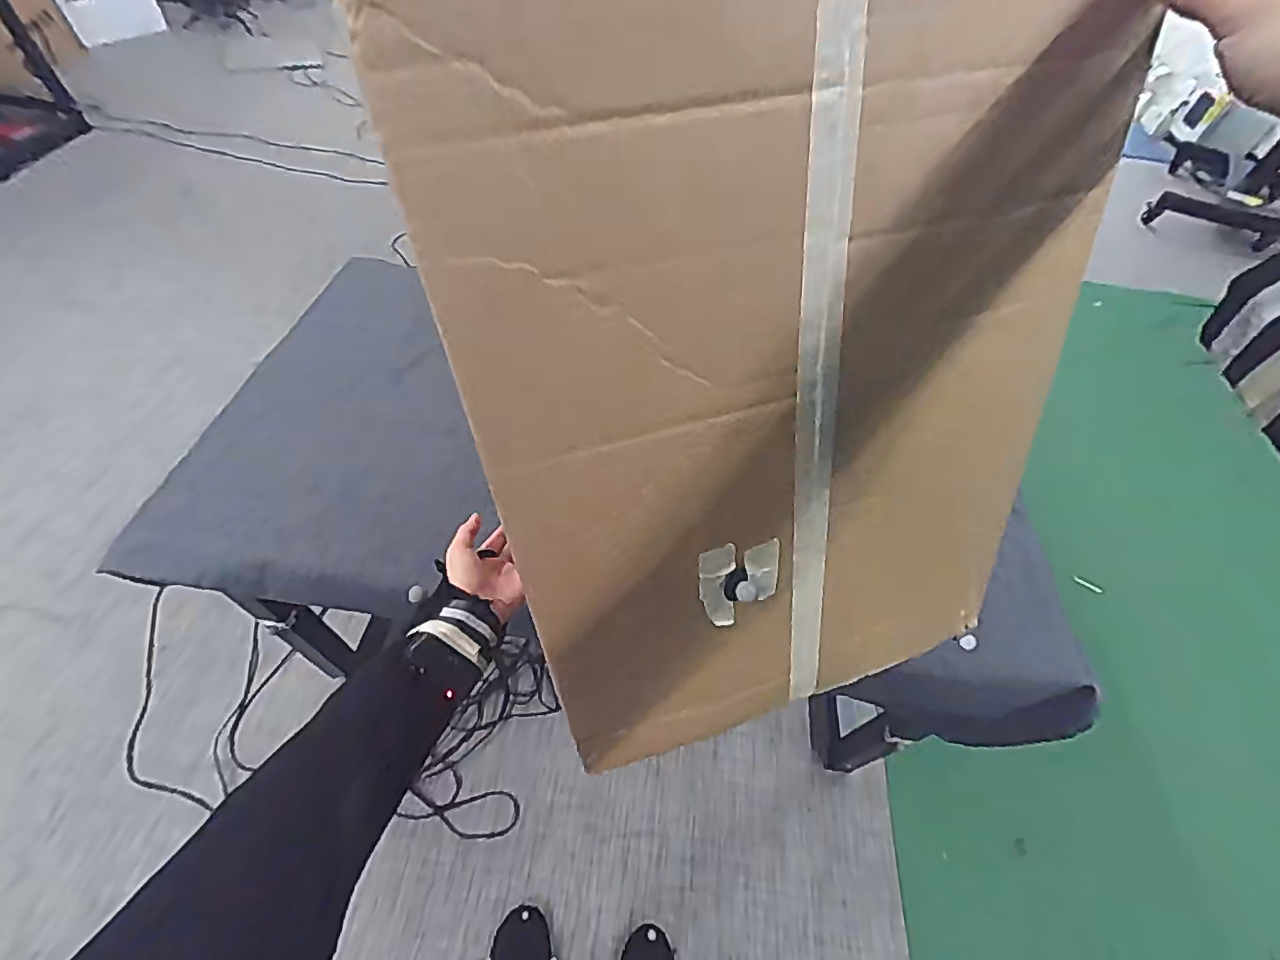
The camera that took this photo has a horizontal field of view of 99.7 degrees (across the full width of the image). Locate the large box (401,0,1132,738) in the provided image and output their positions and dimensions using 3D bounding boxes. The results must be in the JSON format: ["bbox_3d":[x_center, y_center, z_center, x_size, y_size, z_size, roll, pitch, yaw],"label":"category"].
[{"bbox_3d":[0.046,-0.095,0.421,0.320,0.408,0.320,-16,35,-11],"label":"large box"}]
